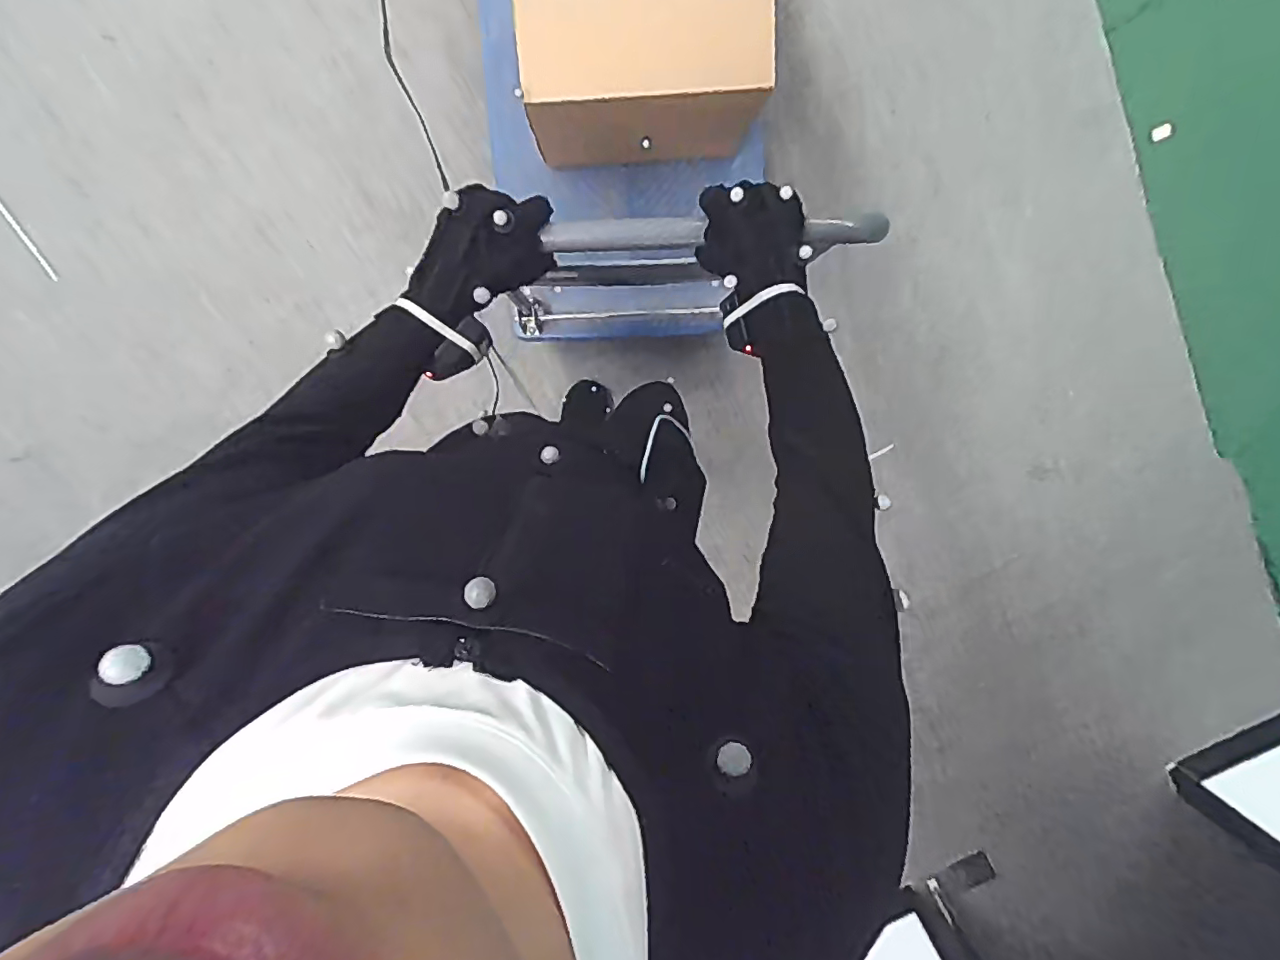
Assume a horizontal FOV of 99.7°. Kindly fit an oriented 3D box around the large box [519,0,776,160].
[{"bbox_3d":[0.007,-0.805,0.972,0.408,0.320,0.320,-4,103,0],"label":"large box"}]
